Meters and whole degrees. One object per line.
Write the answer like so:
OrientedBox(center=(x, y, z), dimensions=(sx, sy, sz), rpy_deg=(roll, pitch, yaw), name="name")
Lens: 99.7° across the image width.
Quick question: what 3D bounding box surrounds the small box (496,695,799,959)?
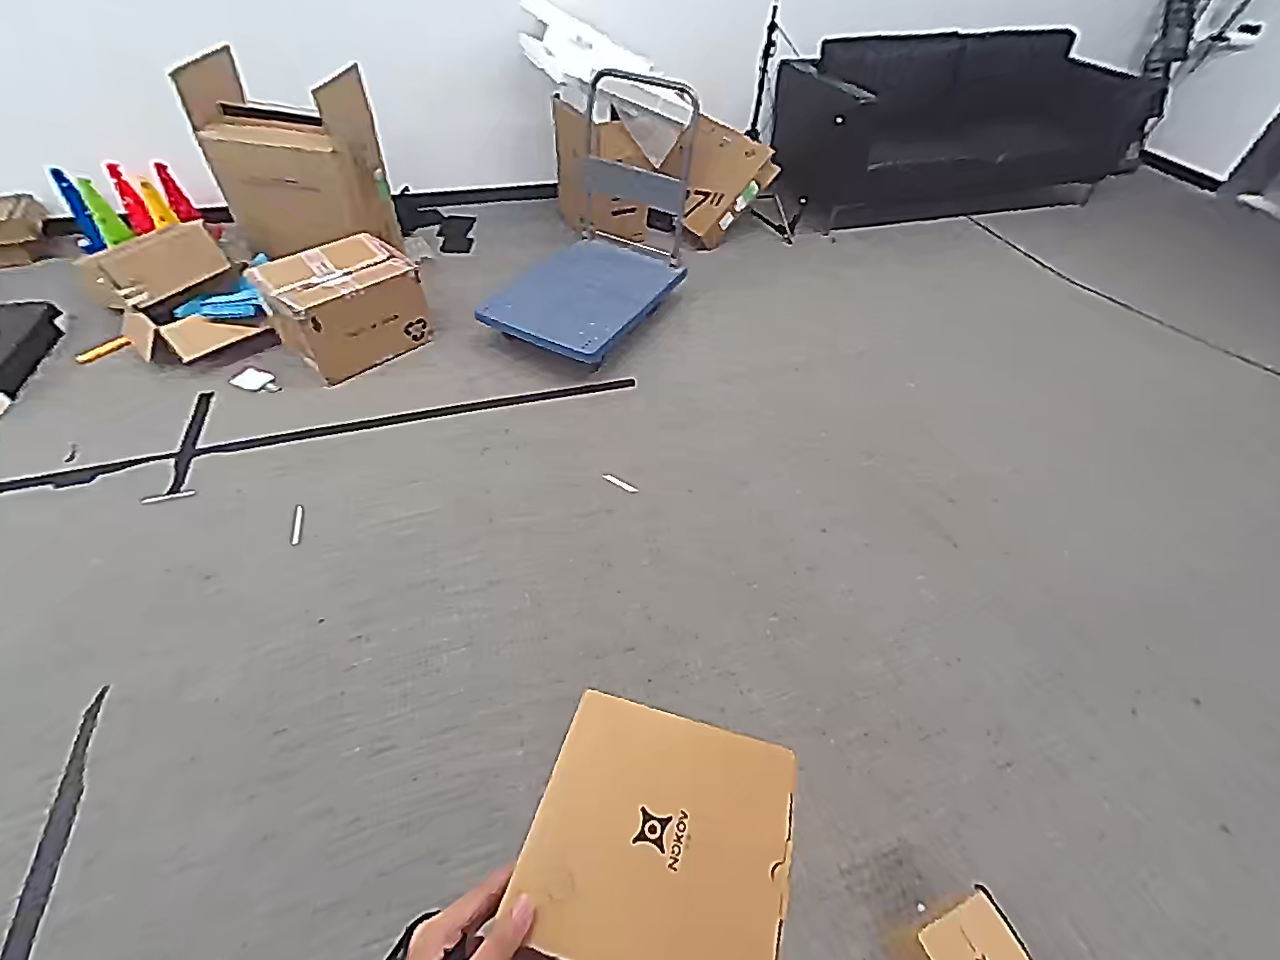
OrientedBox(center=(0.016, 0.304, 0.426), dimensions=(0.179, 0.176, 0.168), rpy_deg=(11, 44, 13), name="small box")
